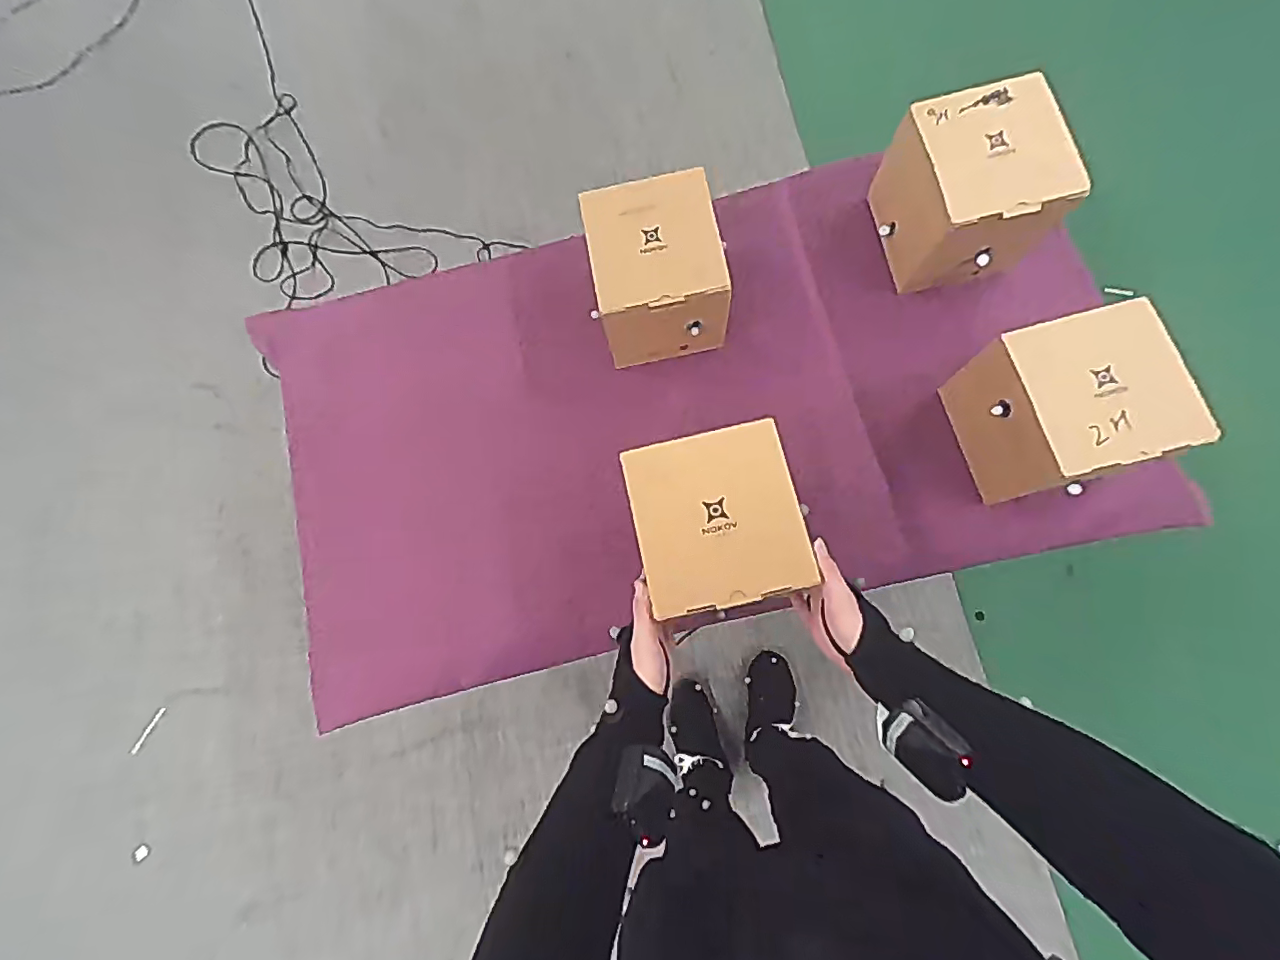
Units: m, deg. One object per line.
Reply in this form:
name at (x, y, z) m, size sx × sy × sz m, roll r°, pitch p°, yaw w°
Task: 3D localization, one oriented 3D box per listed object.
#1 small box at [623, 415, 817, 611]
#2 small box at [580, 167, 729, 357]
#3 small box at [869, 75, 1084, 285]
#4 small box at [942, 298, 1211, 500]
small box at (0.080, 0.048, 0.621) m, size 0.168 × 0.176 × 0.179 m, roll -13°, pitch 76°, yaw 1°
small box at (0.023, -0.286, 0.752) m, size 0.168 × 0.176 × 0.179 m, roll -10°, pitch 78°, yaw 2°
small box at (0.437, -0.387, 0.734) m, size 0.168 × 0.176 × 0.179 m, roll -12°, pitch 81°, yaw 2°
small box at (0.509, -0.087, 0.665) m, size 0.168 × 0.176 × 0.179 m, roll -14°, pitch 77°, yaw 4°
